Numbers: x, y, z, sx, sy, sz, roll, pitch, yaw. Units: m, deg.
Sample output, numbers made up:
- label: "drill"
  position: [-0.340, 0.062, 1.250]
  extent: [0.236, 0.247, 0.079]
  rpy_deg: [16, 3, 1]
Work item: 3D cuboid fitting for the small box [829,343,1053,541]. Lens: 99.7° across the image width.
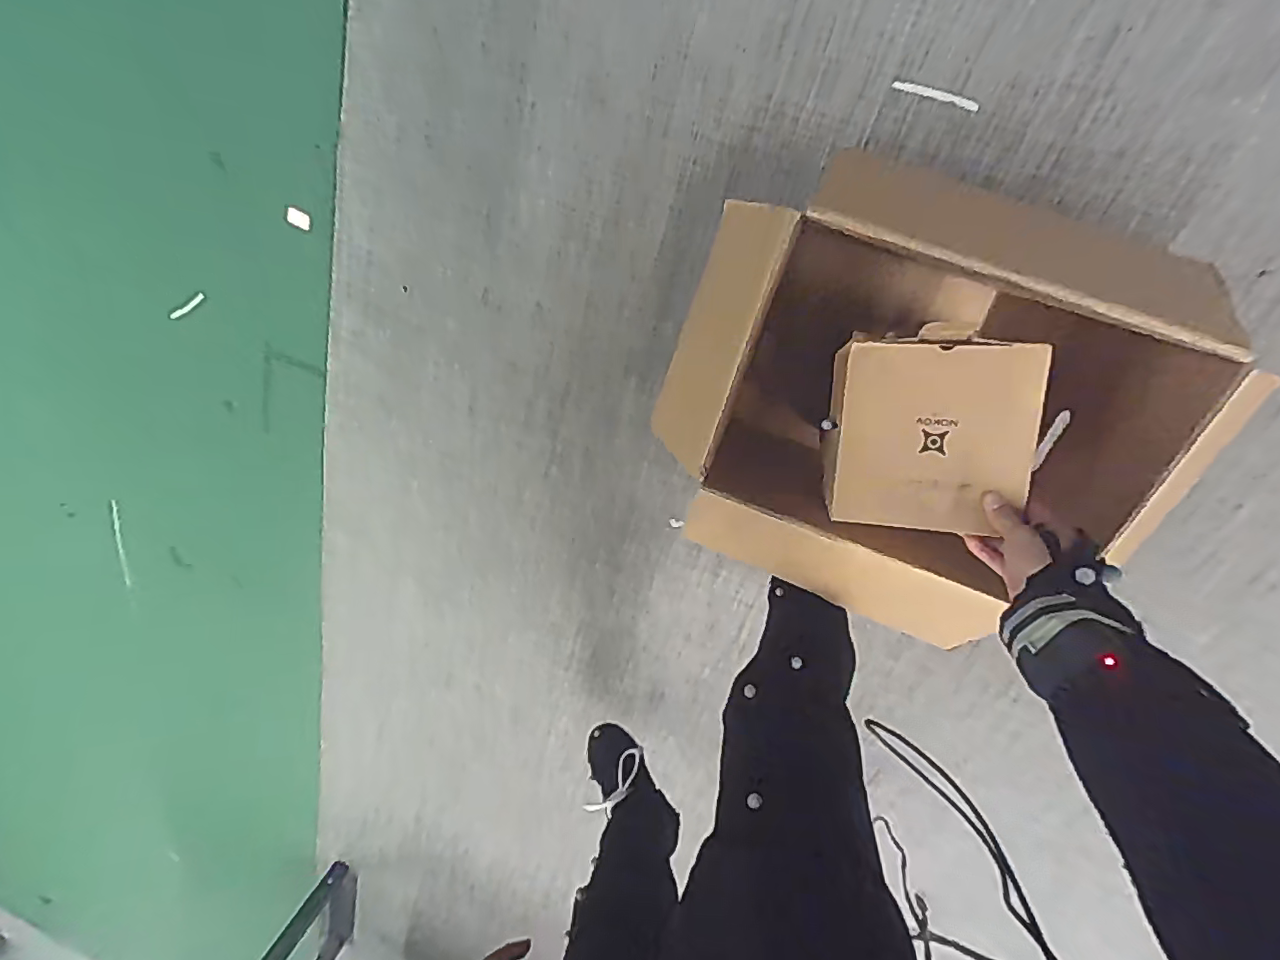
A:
- label: "small box"
  position: [0.298, -0.048, 0.577]
  extent: [0.168, 0.176, 0.179]
  rpy_deg: [5, 100, 16]
